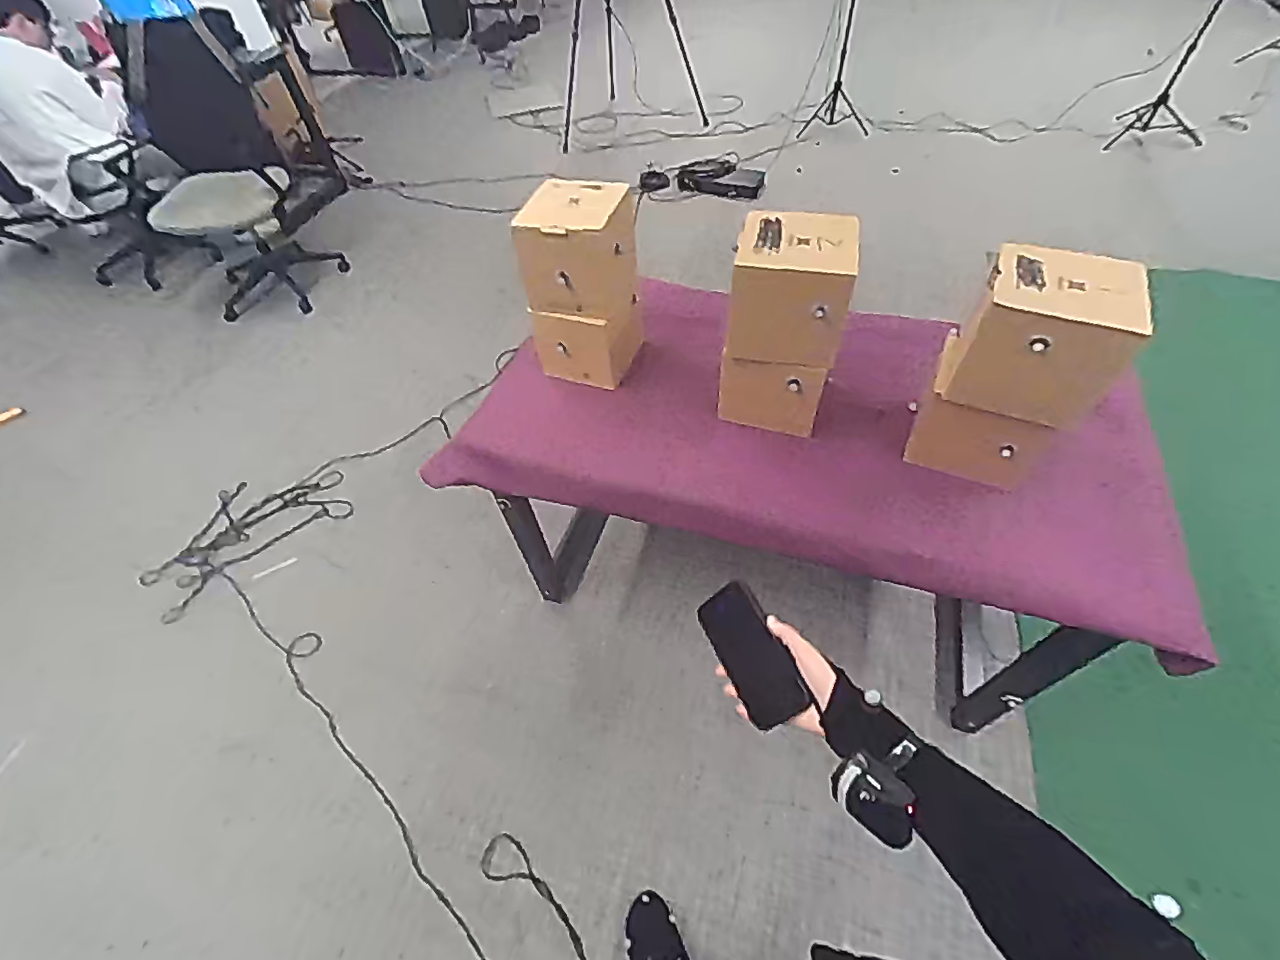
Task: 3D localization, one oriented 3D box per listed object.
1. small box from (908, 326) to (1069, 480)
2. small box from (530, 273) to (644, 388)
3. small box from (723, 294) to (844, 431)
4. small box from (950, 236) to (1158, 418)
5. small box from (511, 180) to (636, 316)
[{"bbox_3d":[0.572,-0.123,0.893,0.179,0.176,0.168,19,56,21],"label":"small box"},{"bbox_3d":[-0.098,-0.316,1.118,0.168,0.176,0.179,14,55,17],"label":"small box"},{"bbox_3d":[0.259,-0.212,0.995,0.179,0.176,0.168,14,54,16],"label":"small box"},{"bbox_3d":[0.560,-0.211,0.755,0.179,0.176,0.168,19,56,19],"label":"small box"},{"bbox_3d":[-0.109,-0.424,0.994,0.168,0.176,0.179,10,54,13],"label":"small box"}]
